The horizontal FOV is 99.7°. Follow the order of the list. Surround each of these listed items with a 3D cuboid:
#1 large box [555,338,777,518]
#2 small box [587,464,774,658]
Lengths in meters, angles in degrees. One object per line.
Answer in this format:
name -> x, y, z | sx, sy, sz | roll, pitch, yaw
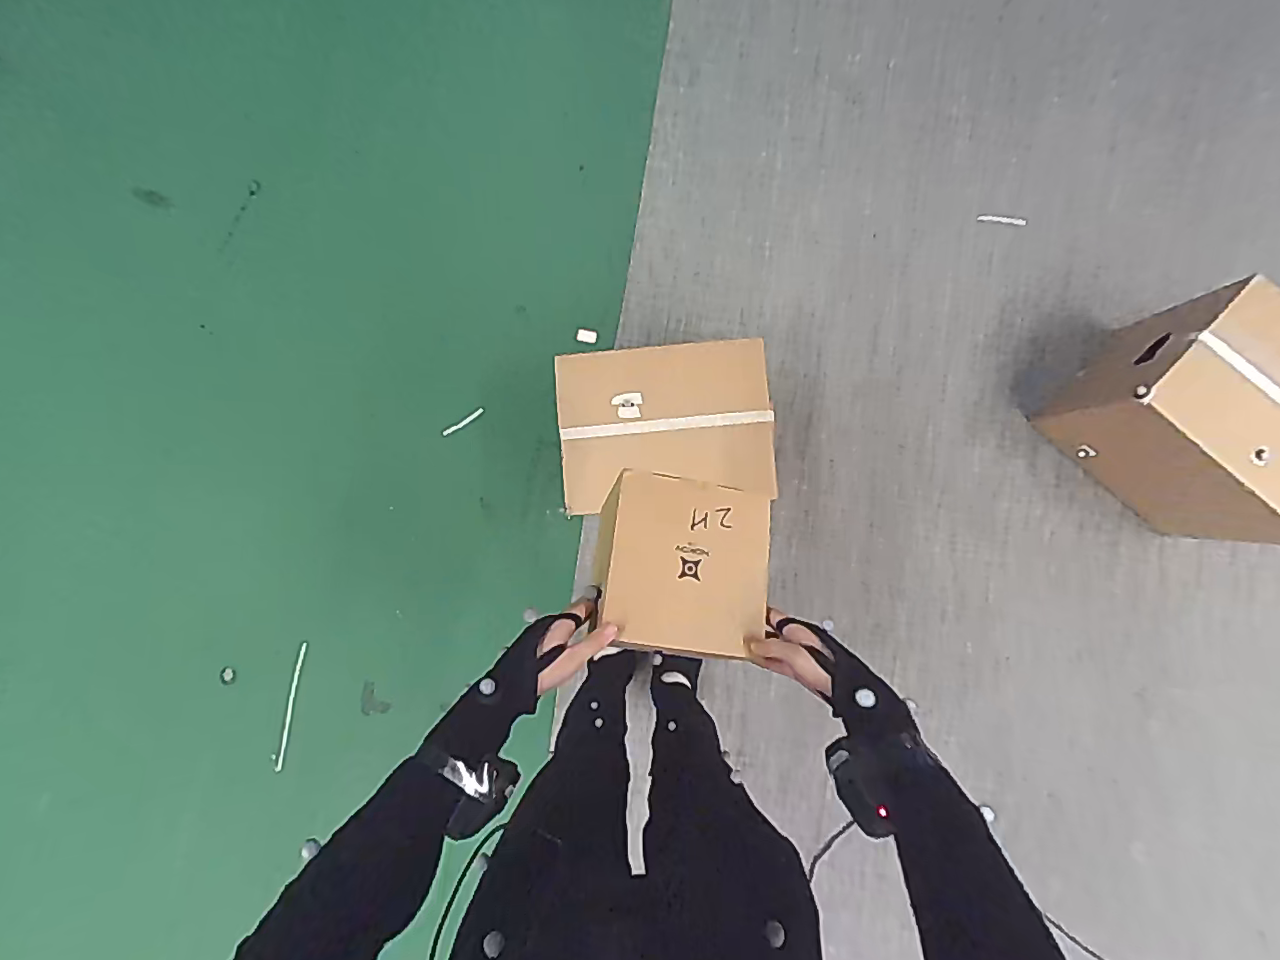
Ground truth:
large box -> 0.057, -0.092, 1.170 | 0.408, 0.320, 0.320 | -5, 86, 4
small box -> 0.038, 0.103, 0.619 | 0.168, 0.176, 0.179 | 11, 70, -10
